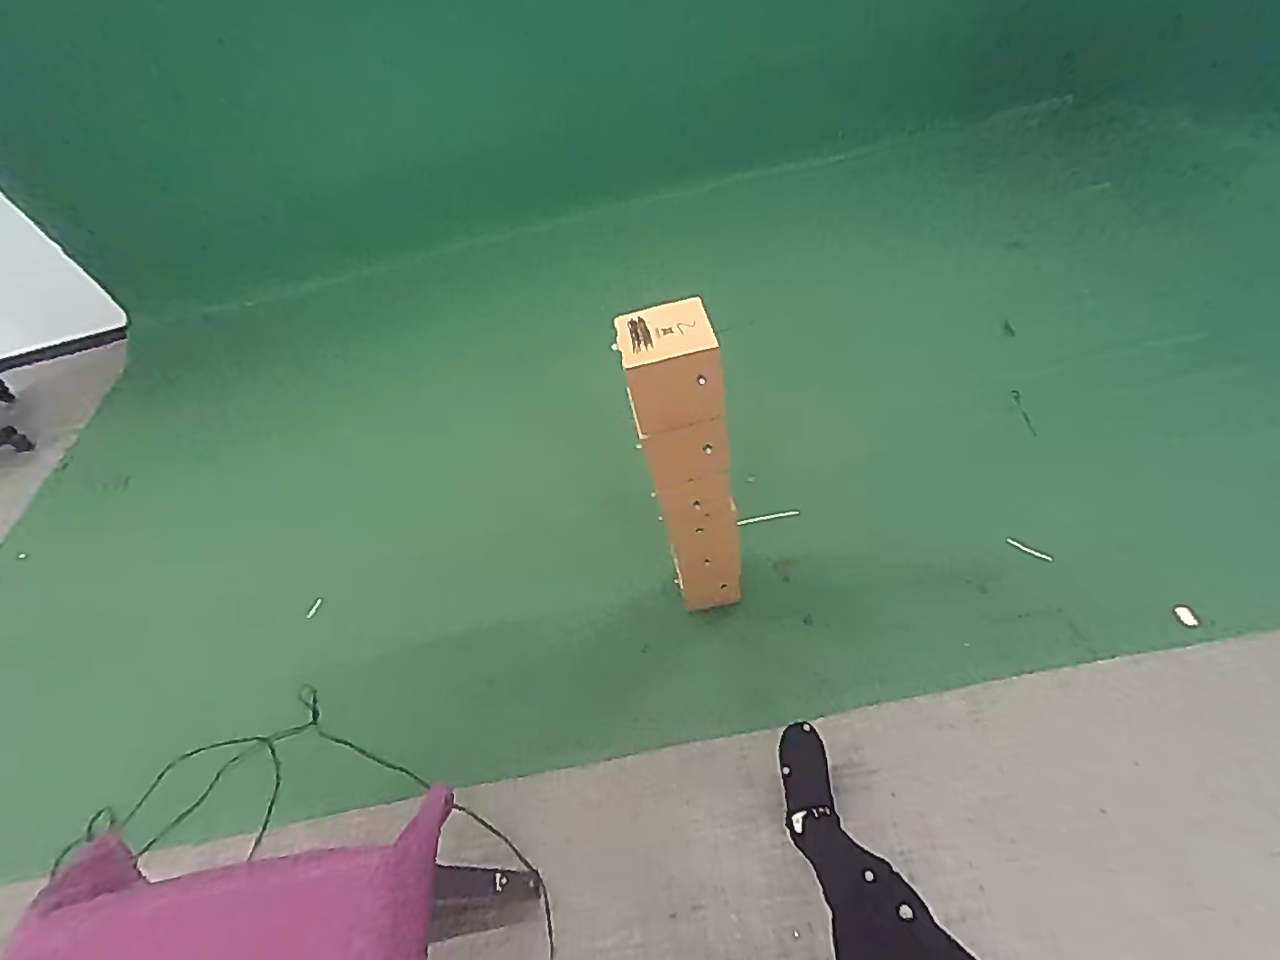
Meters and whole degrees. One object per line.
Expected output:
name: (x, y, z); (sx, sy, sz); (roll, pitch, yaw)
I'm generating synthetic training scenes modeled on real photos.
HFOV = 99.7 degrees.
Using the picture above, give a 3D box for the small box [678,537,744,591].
small box: (0.194, 0.196, 1.559); (0.179, 0.176, 0.168); (-15, 51, 2)

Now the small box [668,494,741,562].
small box: (0.160, 0.096, 1.434); (0.179, 0.176, 0.168); (-16, 51, 0)

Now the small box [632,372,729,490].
small box: (0.093, -0.104, 1.184); (0.179, 0.176, 0.168); (-15, 49, 3)

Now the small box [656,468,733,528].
small box: (0.122, -0.002, 1.309); (0.168, 0.176, 0.179); (-15, 51, 2)

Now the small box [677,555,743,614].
small box: (0.218, 0.298, 1.683); (0.179, 0.176, 0.168); (-13, 51, 4)
